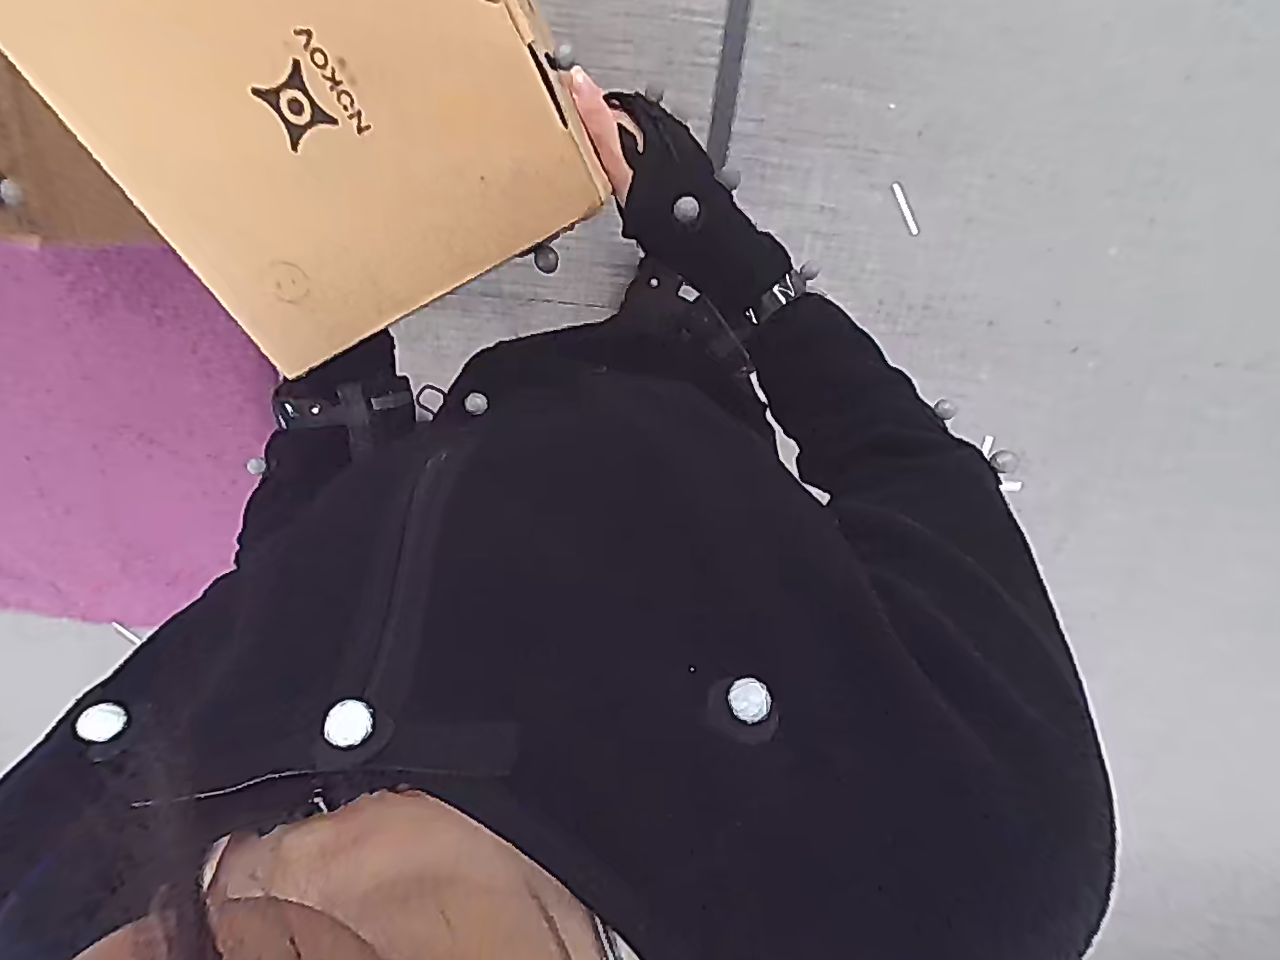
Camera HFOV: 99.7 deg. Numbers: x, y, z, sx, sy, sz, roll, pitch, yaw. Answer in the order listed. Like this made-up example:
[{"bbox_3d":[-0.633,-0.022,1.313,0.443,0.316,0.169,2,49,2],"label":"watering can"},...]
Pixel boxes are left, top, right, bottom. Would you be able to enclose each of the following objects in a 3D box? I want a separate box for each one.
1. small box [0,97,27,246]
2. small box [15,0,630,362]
[{"bbox_3d":[-0.508,-0.222,0.291,0.179,0.176,0.168,7,115,-5],"label":"small box"},{"bbox_3d":[-0.114,-0.187,0.271,0.179,0.176,0.168,-23,118,11],"label":"small box"}]
